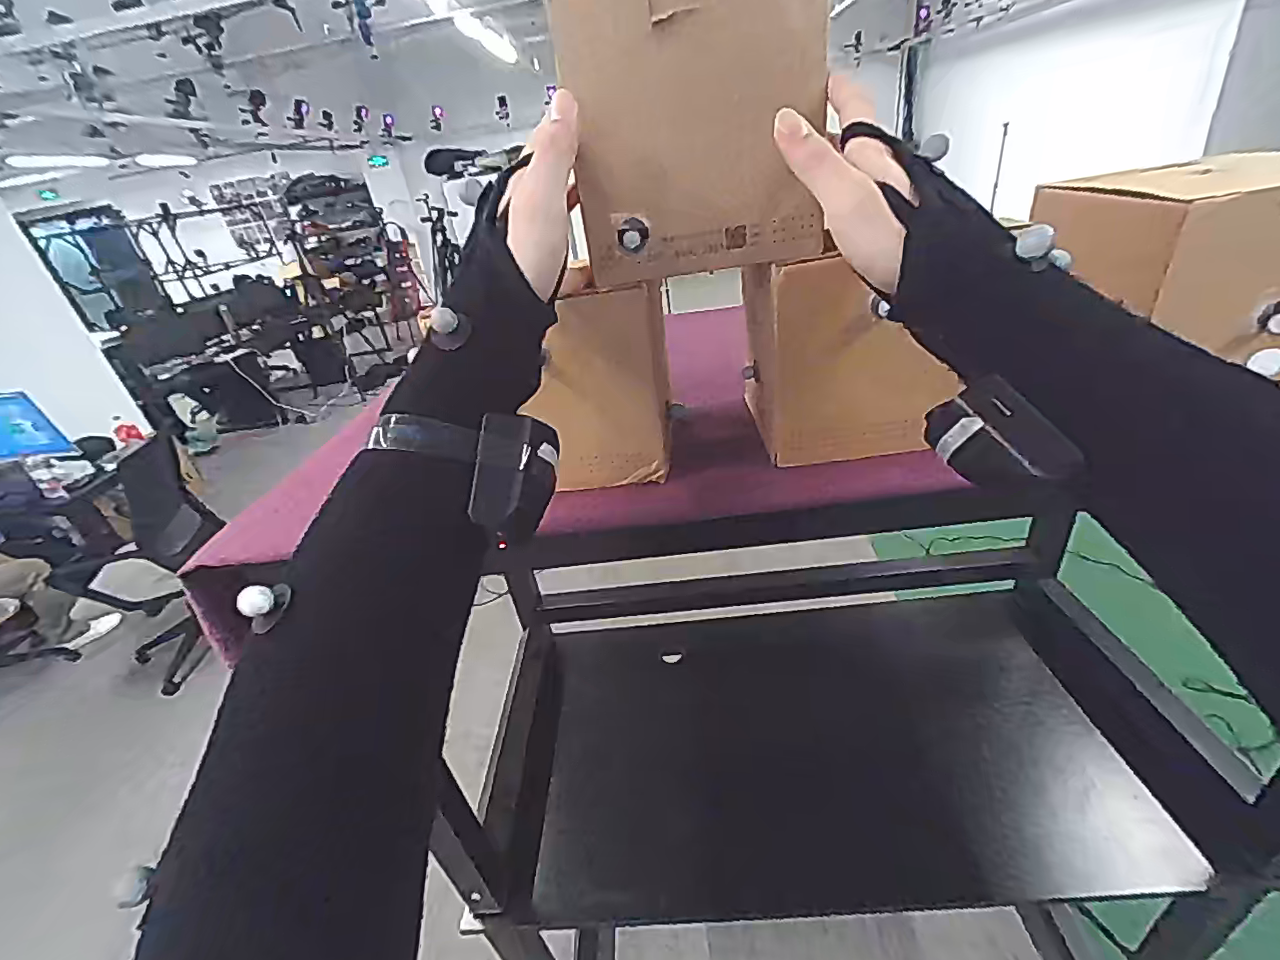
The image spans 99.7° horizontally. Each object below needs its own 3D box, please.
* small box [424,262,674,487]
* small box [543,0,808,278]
[{"bbox_3d":[-0.066,-0.104,0.514,0.179,0.176,0.168,-4,30,8],"label":"small box"},{"bbox_3d":[0.033,-0.265,0.433,0.168,0.176,0.179,-7,28,4],"label":"small box"}]
